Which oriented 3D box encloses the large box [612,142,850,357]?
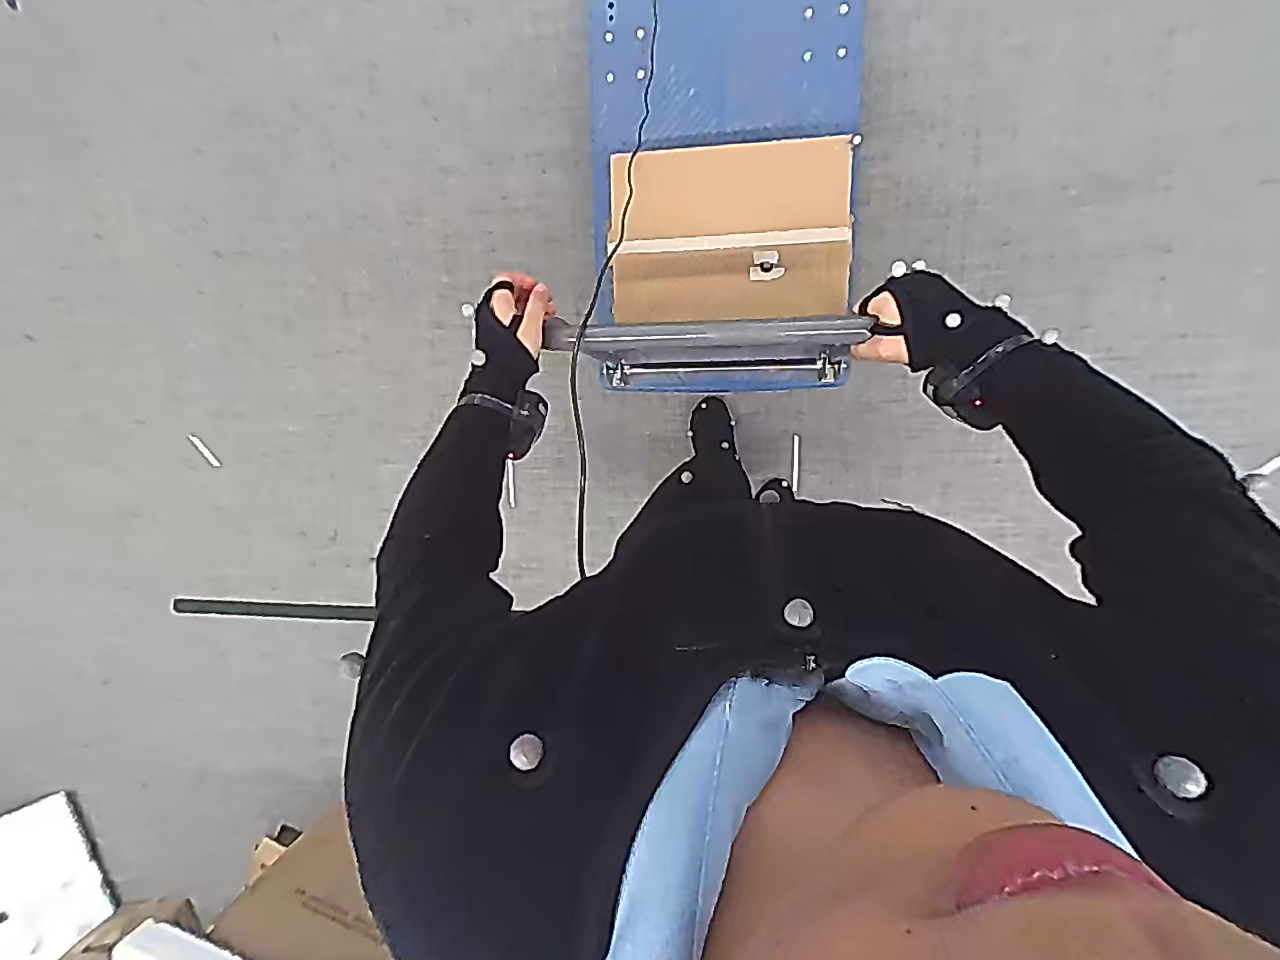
[{"bbox_3d":[0.169,-0.422,1.077,0.408,0.320,0.320,0,99,7],"label":"large box"}]
